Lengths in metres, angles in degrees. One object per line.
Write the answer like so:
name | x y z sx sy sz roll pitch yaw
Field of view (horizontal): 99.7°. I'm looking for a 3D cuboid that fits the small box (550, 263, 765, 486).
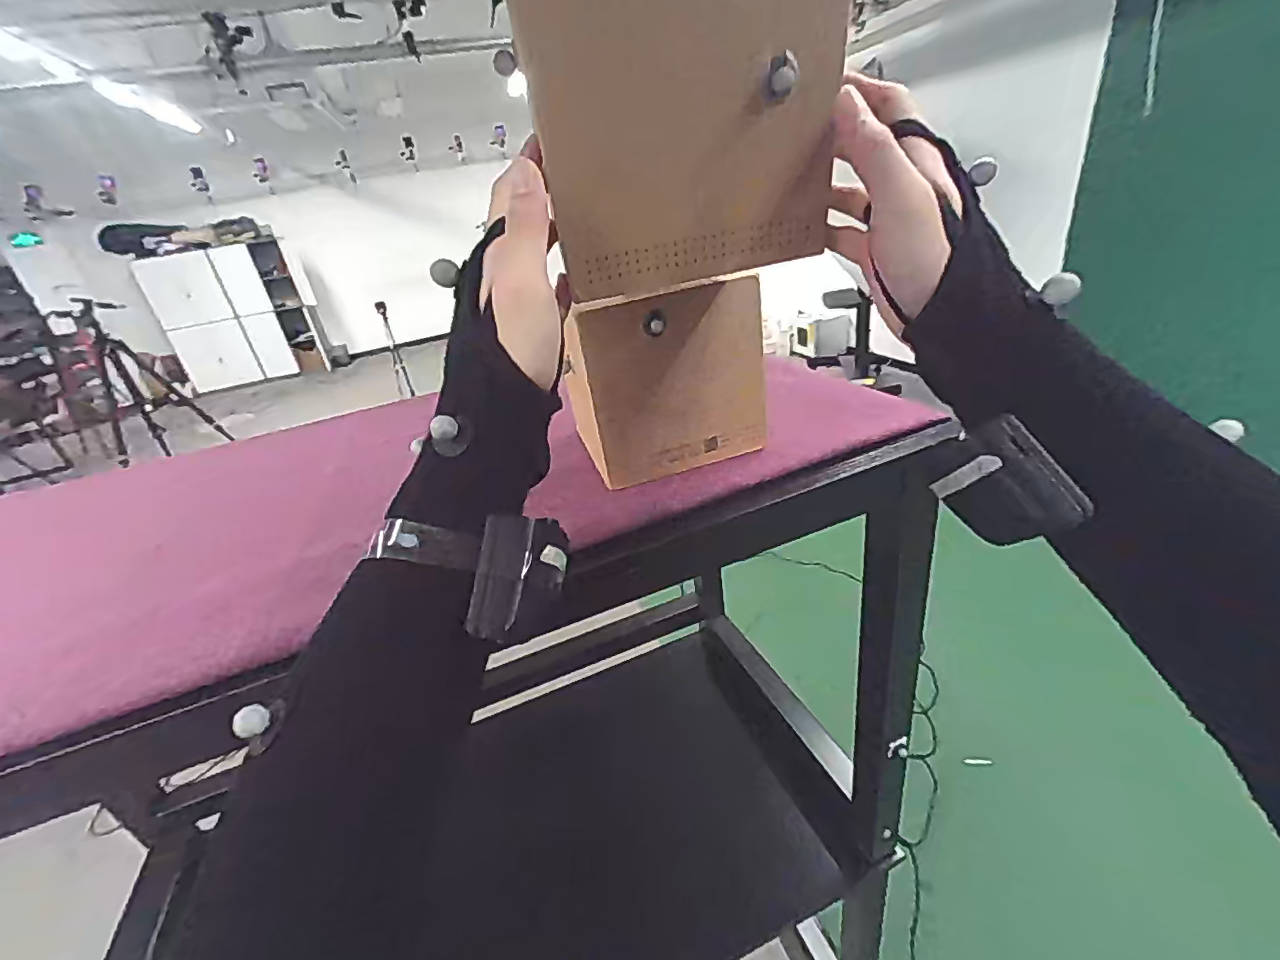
small box | 0.014 -0.115 0.552 0.168 0.176 0.179 -16 28 -10
